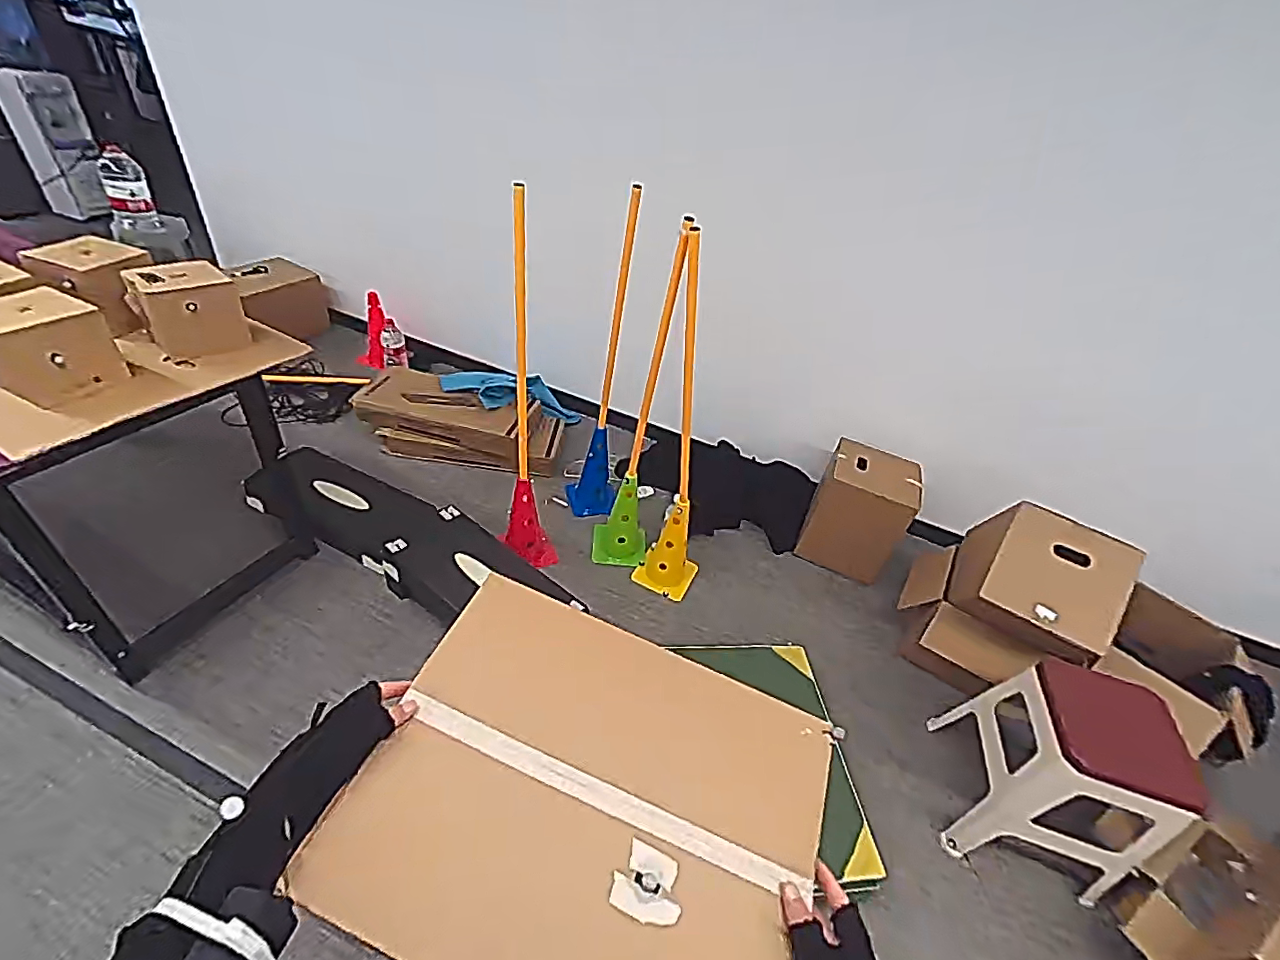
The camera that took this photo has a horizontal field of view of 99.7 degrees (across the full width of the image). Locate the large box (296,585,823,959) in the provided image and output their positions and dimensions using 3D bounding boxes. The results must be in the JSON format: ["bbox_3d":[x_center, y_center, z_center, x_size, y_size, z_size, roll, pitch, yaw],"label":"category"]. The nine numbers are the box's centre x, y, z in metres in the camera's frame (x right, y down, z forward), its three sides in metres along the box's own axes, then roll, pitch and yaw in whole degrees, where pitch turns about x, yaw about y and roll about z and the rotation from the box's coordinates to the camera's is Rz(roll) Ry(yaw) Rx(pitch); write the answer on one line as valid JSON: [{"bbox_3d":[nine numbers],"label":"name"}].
[{"bbox_3d":[-0.066,0.388,0.608,0.408,0.320,0.320,23,48,6],"label":"large box"}]
